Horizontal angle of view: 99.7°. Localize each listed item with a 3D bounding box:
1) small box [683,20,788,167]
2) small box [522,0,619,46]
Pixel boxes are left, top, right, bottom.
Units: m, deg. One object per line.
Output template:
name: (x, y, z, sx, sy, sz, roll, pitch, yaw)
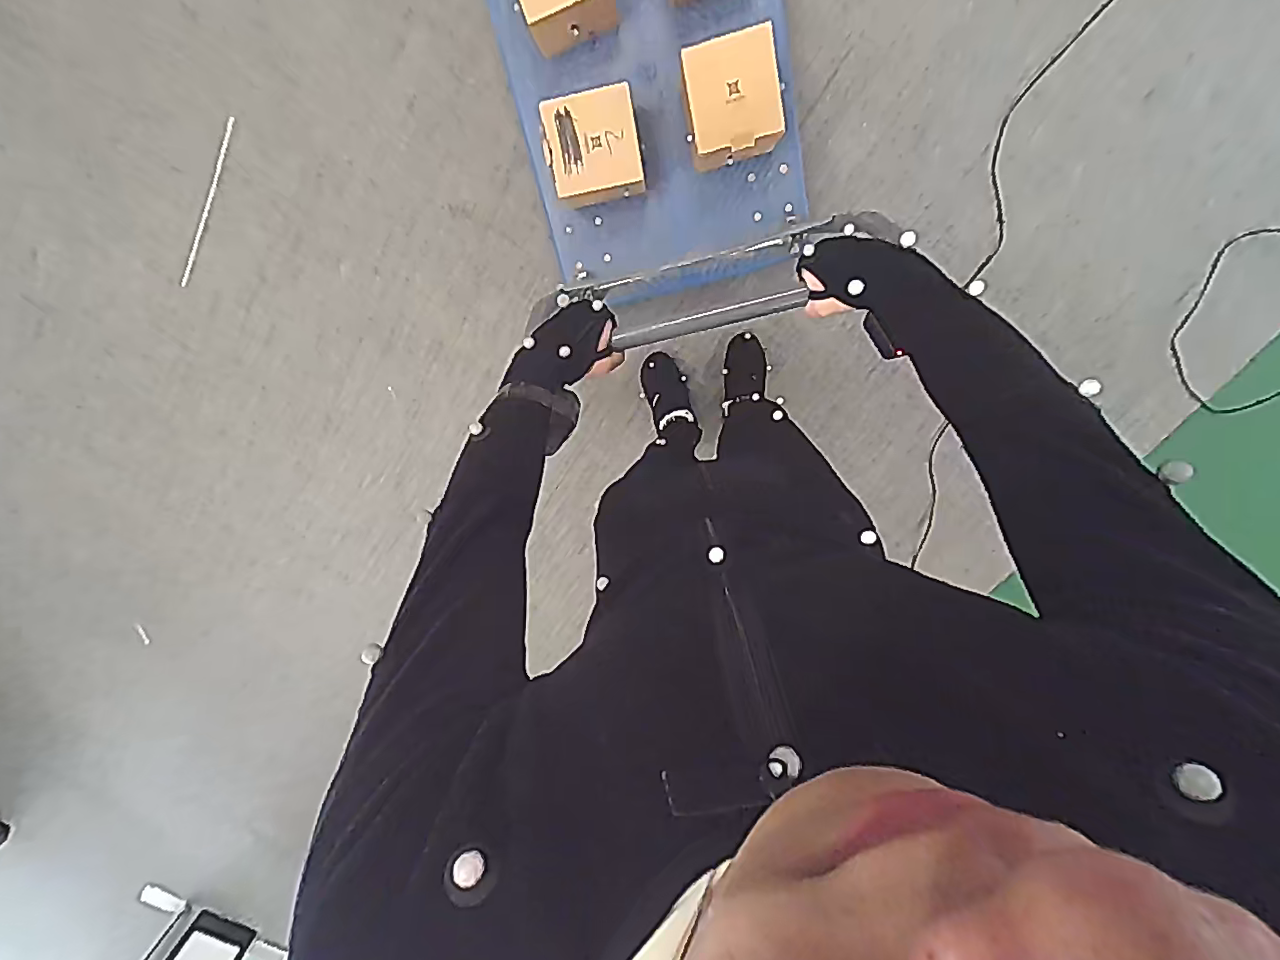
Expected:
small box: (0.182, -0.742, 1.060, 0.168, 0.176, 0.179, -12, 111, 8)
small box: (-0.143, -0.945, 0.995, 0.168, 0.176, 0.179, -17, 110, 9)
